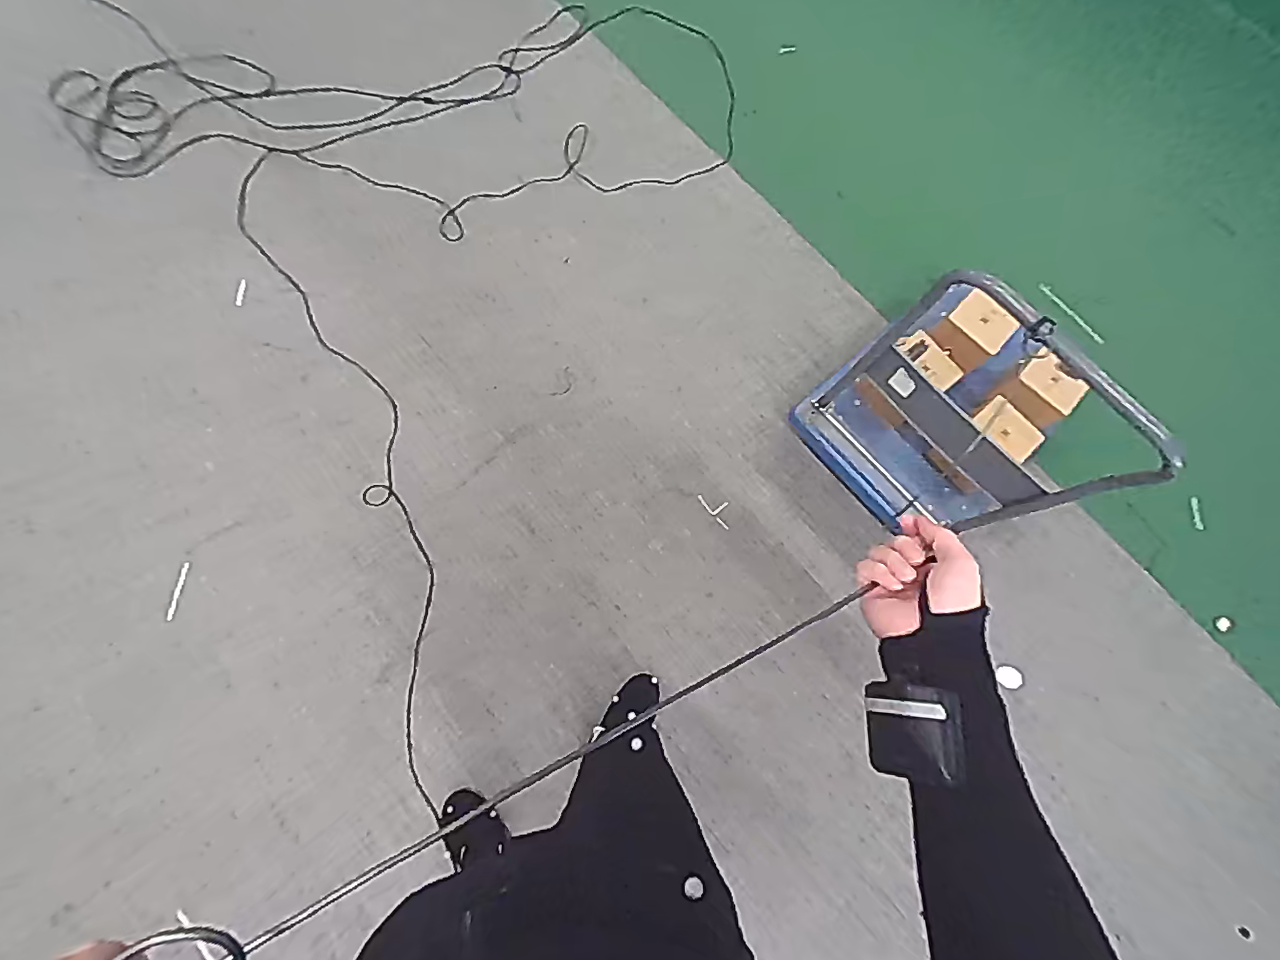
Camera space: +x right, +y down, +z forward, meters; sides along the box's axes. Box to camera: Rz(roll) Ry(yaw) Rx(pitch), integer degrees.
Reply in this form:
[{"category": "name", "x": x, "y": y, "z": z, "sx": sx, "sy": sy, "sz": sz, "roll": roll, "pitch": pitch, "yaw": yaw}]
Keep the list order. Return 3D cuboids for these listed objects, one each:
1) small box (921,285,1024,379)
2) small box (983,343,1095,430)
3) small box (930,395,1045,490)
[{"category": "small box", "x": 0.980, "y": -0.435, "z": 1.615, "sx": 0.179, "sy": 0.176, "sz": 0.168, "roll": -42, "pitch": 83, "yaw": -18}, {"category": "small box", "x": 1.157, "y": -0.259, "z": 1.581, "sx": 0.179, "sy": 0.176, "sz": 0.168, "roll": -42, "pitch": 81, "yaw": -17}, {"category": "small box", "x": 0.954, "y": -0.099, "z": 1.502, "sx": 0.179, "sy": 0.176, "sz": 0.168, "roll": -38, "pitch": 81, "yaw": -16}]
